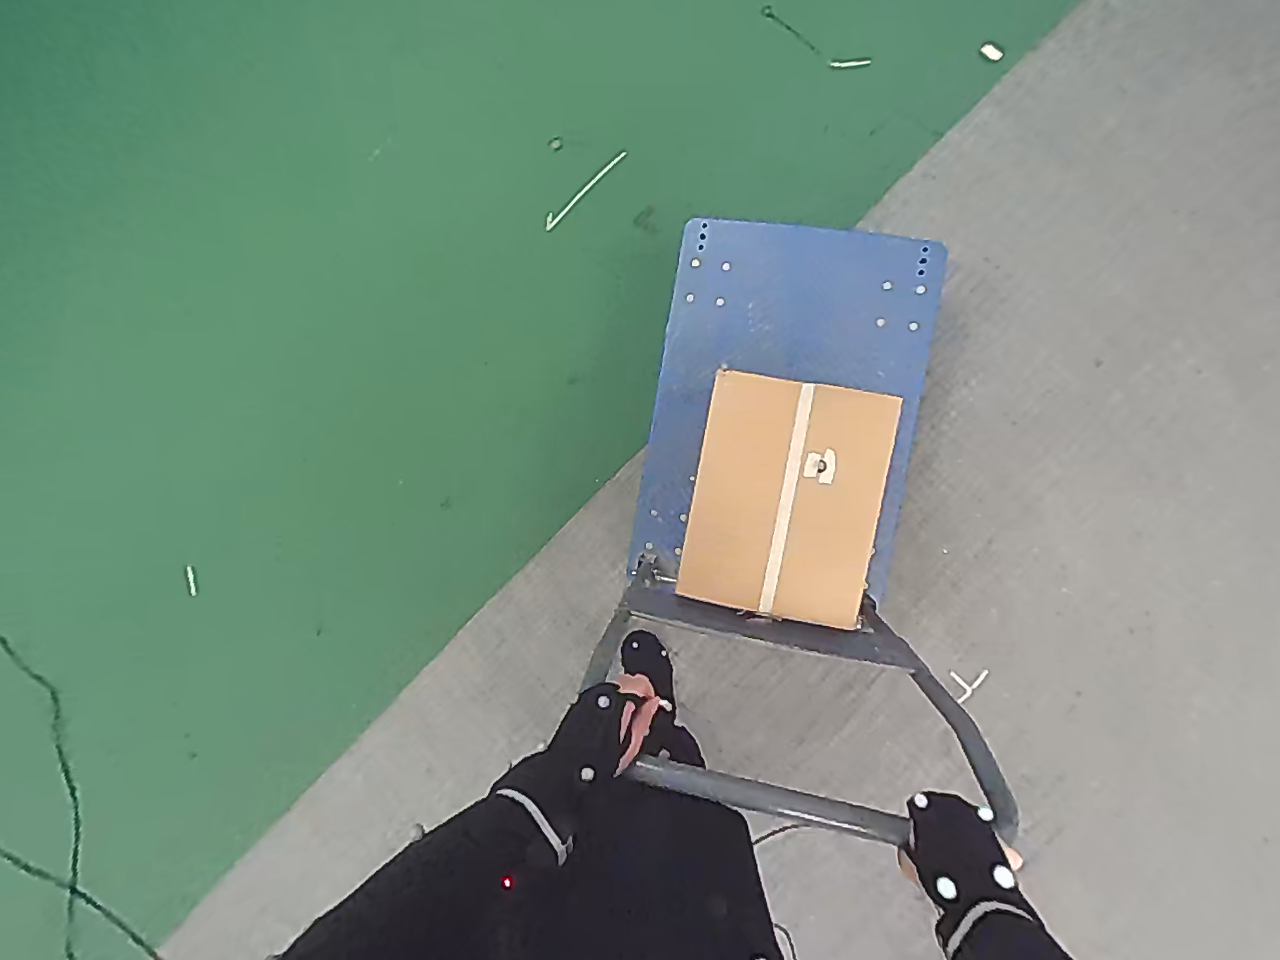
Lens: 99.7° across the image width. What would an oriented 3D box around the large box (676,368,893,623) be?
[{"bbox_3d":[0.266,0.024,1.078,0.320,0.320,0.408,11,92,7],"label":"large box"}]
